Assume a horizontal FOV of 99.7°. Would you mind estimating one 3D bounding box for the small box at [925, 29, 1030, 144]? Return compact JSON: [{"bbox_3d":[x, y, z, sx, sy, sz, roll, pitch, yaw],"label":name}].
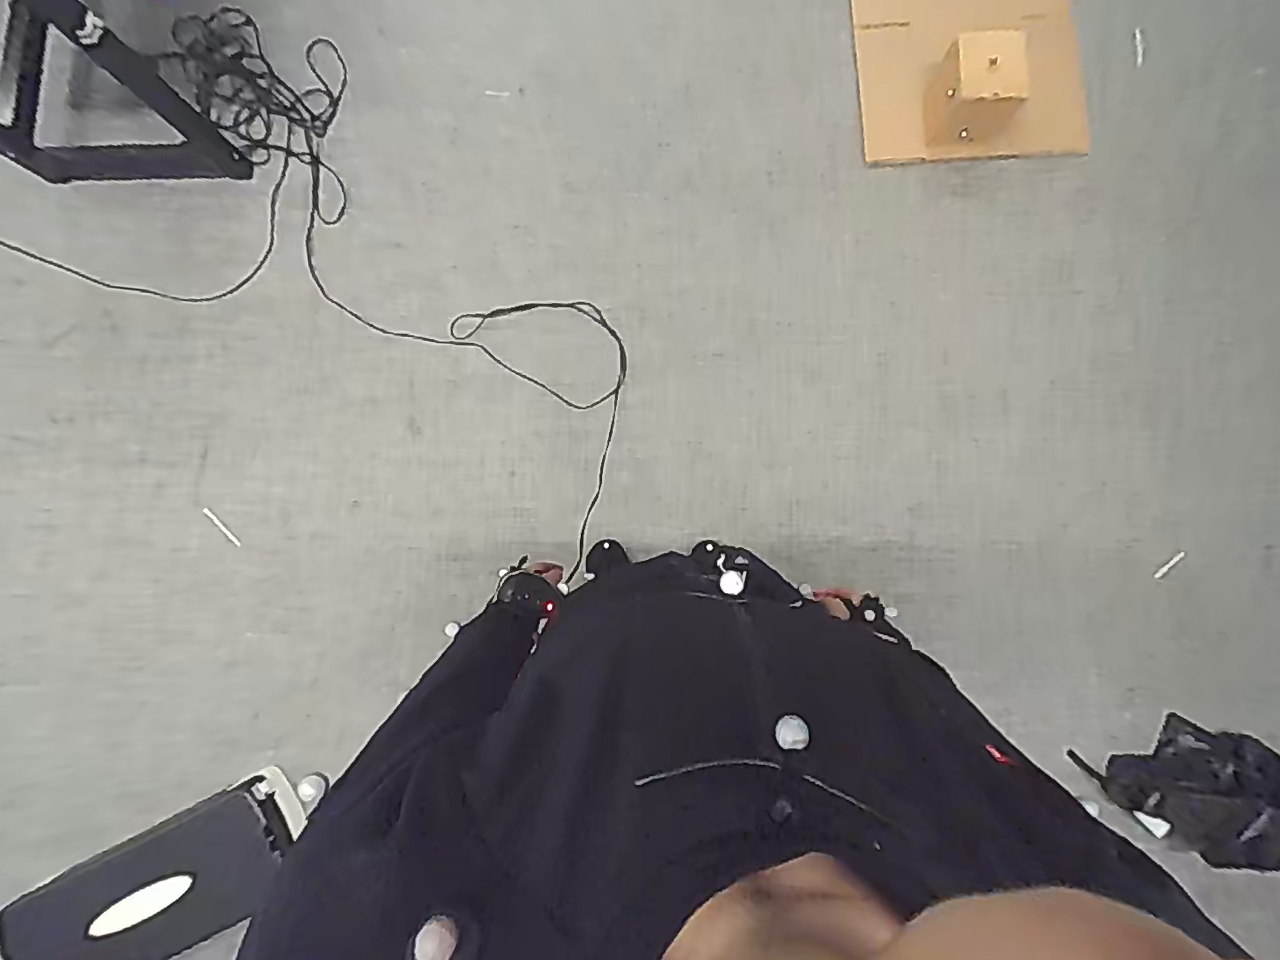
[{"bbox_3d":[0.847,-0.995,1.375,0.168,0.176,0.179,-1,85,1],"label":"small box"}]
